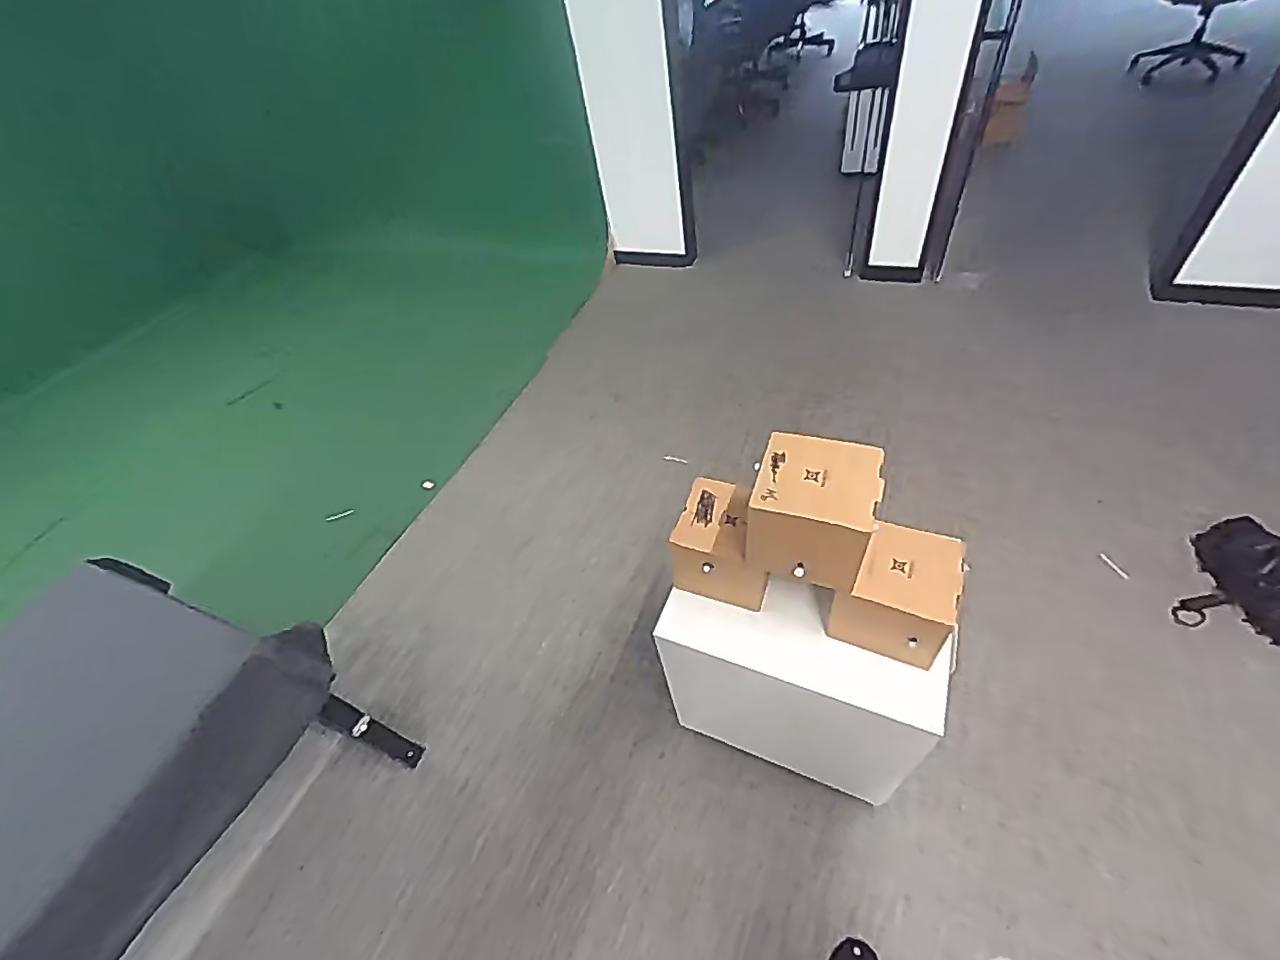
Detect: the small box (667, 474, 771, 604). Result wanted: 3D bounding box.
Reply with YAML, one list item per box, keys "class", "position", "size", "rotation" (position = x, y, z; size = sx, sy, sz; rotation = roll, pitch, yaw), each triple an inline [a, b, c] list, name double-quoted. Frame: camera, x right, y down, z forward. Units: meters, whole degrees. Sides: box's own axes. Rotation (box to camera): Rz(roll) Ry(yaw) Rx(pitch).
- class: "small box"
  position: [0.166, 0.117, 1.046]
  size: [0.179, 0.176, 0.168]
  rotation: [14, 54, 20]

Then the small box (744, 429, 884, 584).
- class: "small box"
  position: [0.274, 0.046, 0.871]
  size: [0.179, 0.176, 0.168]
  rotation: [13, 53, 19]

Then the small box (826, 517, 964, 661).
- class: "small box"
  position: [0.434, 0.189, 0.934]
  size: [0.179, 0.176, 0.168]
  rotation: [14, 53, 24]
